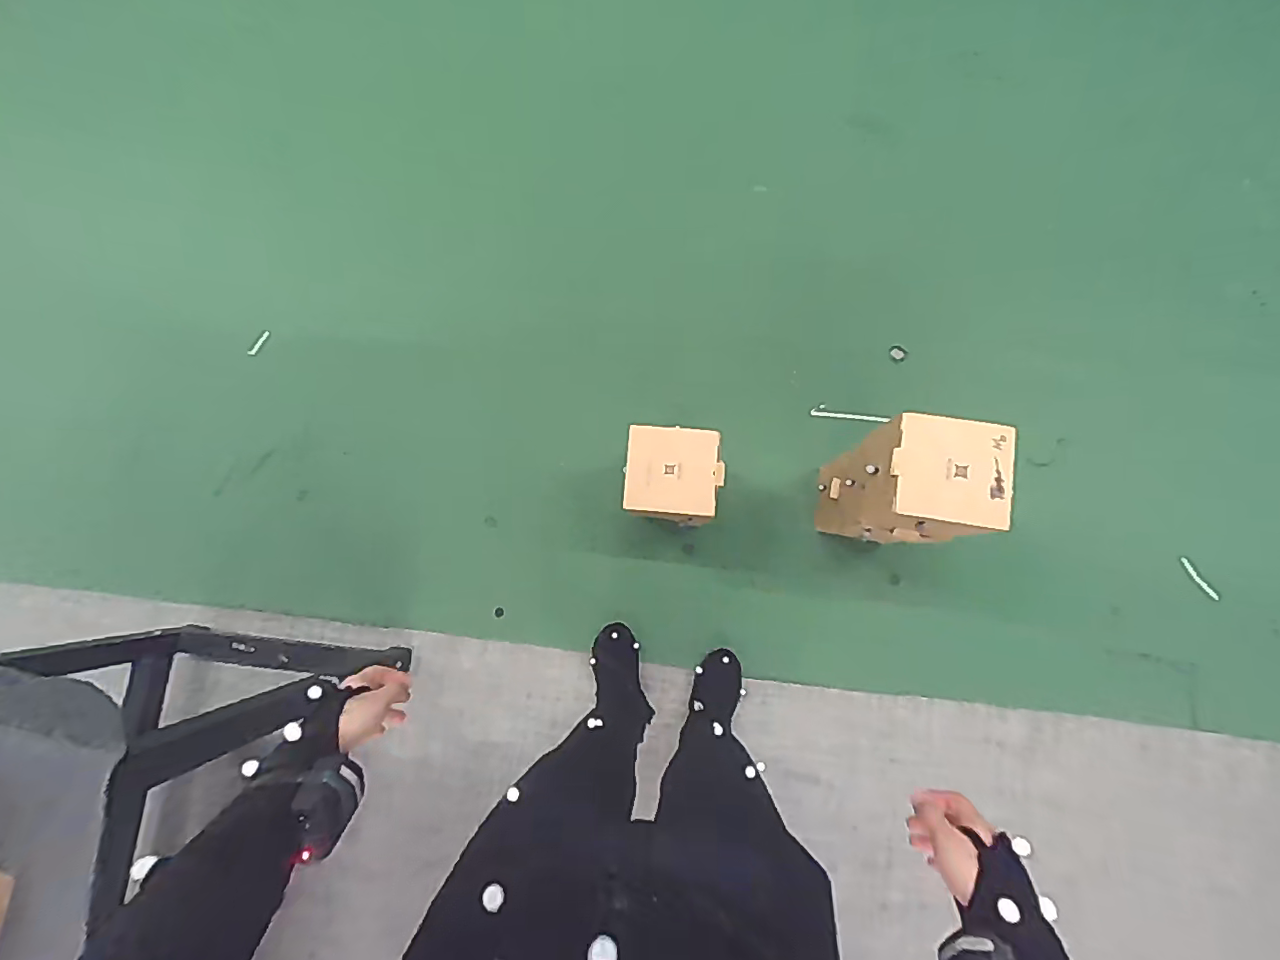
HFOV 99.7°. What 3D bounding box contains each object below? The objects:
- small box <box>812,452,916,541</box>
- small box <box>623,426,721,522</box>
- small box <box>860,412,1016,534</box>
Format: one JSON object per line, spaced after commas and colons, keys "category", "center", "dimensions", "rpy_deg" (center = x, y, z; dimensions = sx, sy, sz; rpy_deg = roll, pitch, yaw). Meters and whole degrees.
{"category": "small box", "center": [0.513, 0.042, 1.234], "dimensions": [0.179, 0.176, 0.168], "rpy_deg": [11, 83, 3]}
{"category": "small box", "center": [0.064, -0.006, 1.095], "dimensions": [0.179, 0.176, 0.168], "rpy_deg": [4, 82, 4]}
{"category": "small box", "center": [0.489, -0.004, 0.910], "dimensions": [0.179, 0.176, 0.168], "rpy_deg": [9, 82, 4]}
